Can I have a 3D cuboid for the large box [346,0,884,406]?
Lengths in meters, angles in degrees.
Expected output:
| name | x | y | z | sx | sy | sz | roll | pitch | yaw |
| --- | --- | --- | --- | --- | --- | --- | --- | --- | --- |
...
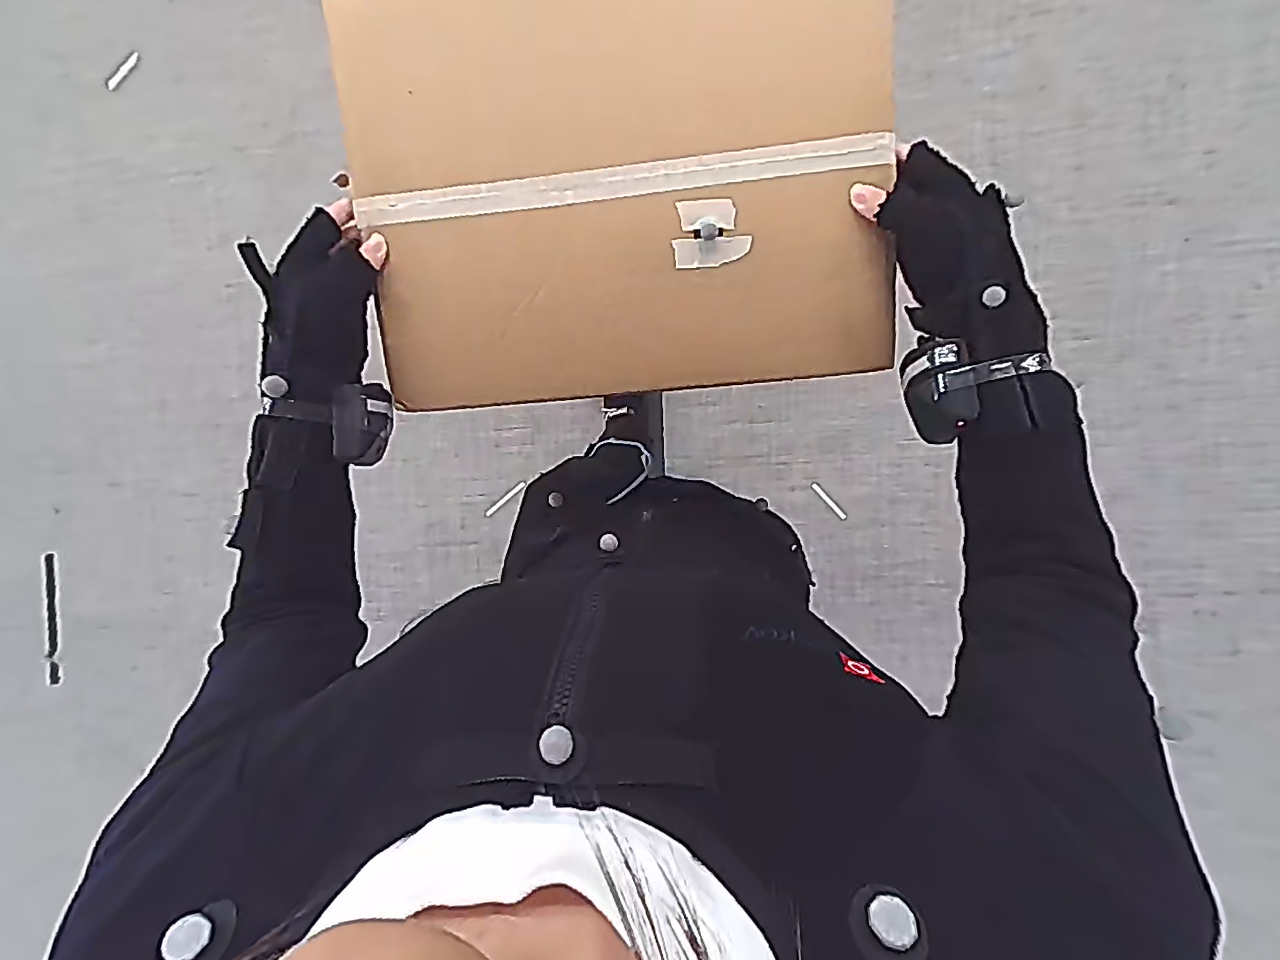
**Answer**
| name | x | y | z | sx | sy | sz | roll | pitch | yaw |
| --- | --- | --- | --- | --- | --- | --- | --- | --- | --- |
| large box | -0.008 | -0.260 | 0.570 | 0.408 | 0.320 | 0.320 | -5 | 102 | 4 |
